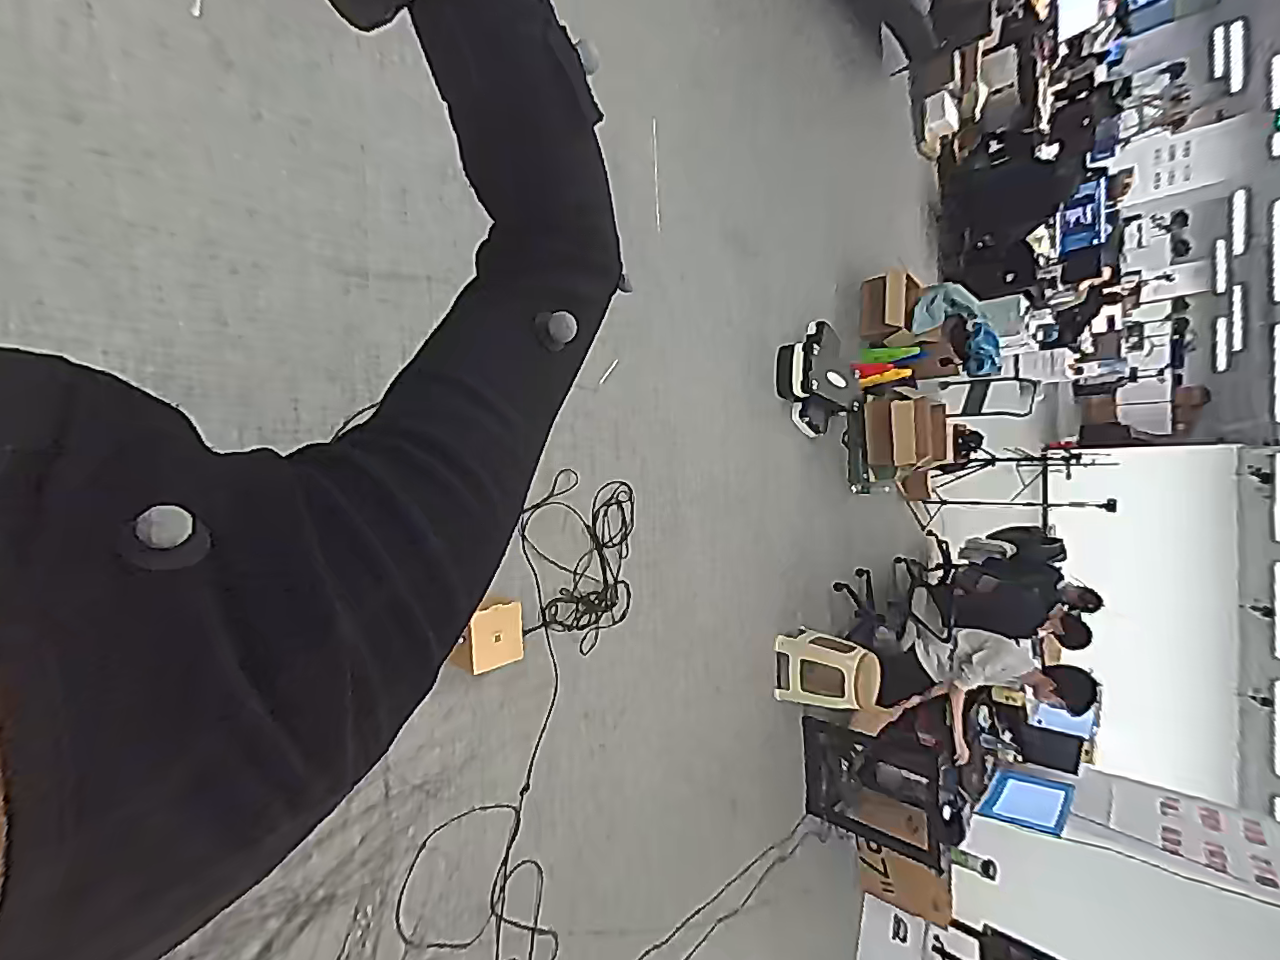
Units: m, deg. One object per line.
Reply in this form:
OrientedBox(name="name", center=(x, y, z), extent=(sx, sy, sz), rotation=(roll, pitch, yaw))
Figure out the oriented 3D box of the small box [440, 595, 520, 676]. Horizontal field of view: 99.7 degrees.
OrientedBox(name="small box", center=(-0.472, 0.449, 1.588), extent=(0.168, 0.176, 0.179), rotation=(-5, 92, -47))
